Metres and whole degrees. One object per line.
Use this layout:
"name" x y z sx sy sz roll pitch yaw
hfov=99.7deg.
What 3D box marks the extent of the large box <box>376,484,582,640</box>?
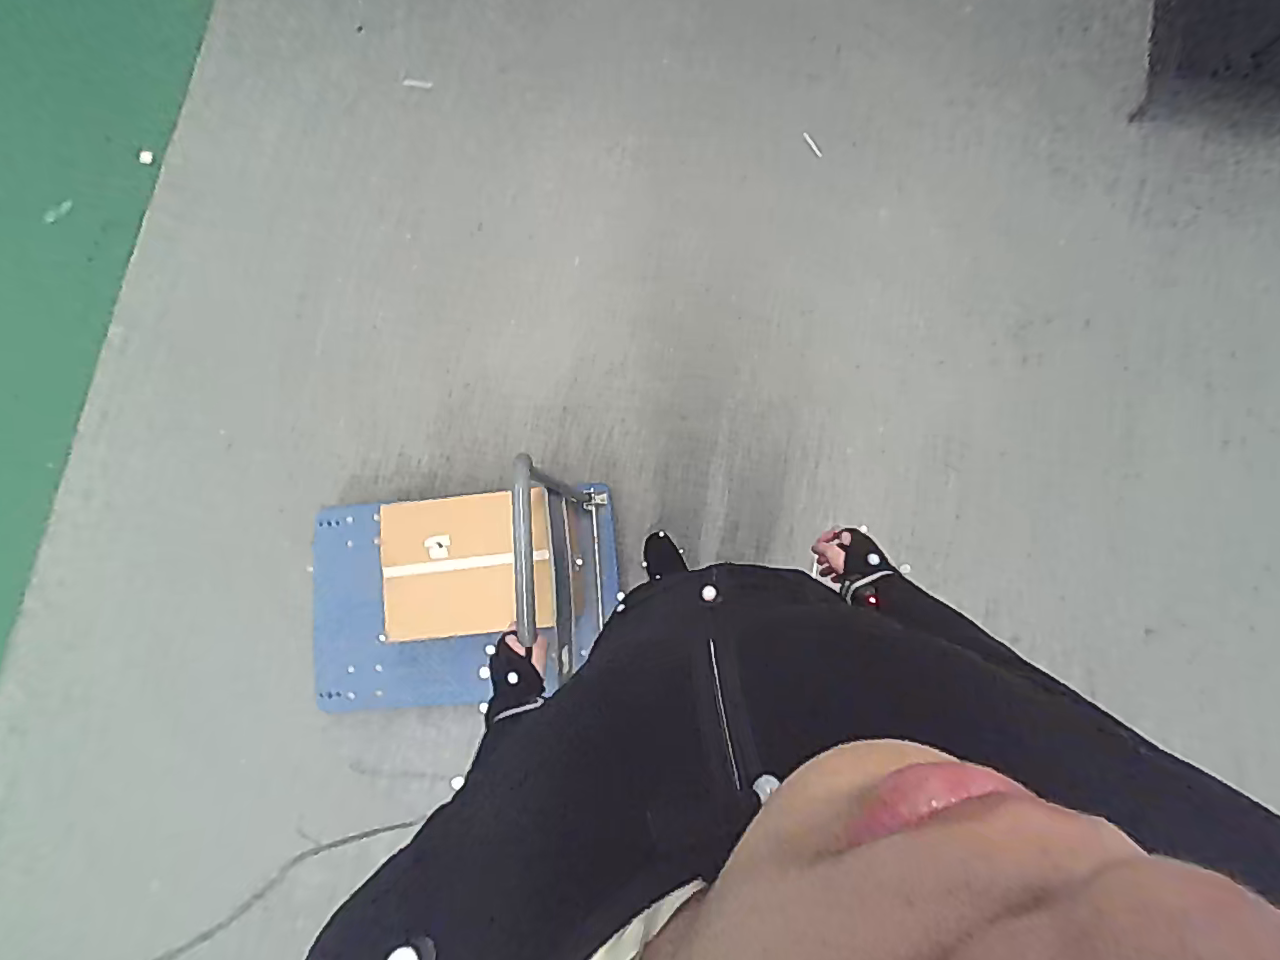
"large box" -0.381 0.200 1.356 0.408 0.320 0.320 -6 82 3
